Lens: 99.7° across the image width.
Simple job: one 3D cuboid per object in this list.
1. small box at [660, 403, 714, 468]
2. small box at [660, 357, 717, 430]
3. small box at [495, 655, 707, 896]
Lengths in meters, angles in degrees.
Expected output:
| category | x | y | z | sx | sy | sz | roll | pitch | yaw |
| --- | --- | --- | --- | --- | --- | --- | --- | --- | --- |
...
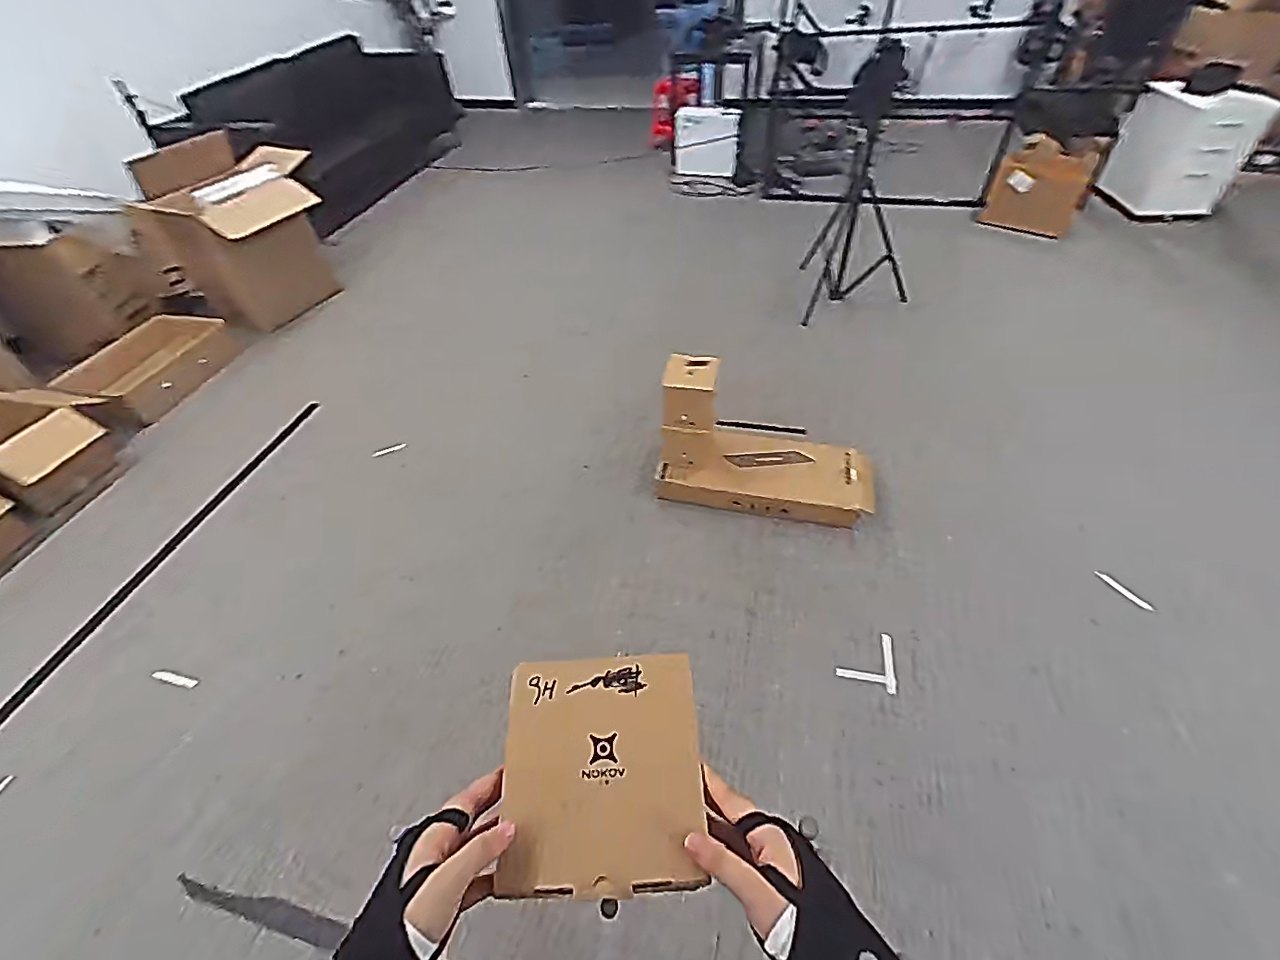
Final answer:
| category | x | y | z | sx | sy | sz | roll | pitch | yaw |
| --- | --- | --- | --- | --- | --- | --- | --- | --- | --- |
| small box | 0.168 | -0.169 | 1.934 | 0.168 | 0.176 | 0.179 | 8 | 48 | 11 |
| small box | 0.163 | -0.293 | 1.826 | 0.168 | 0.176 | 0.179 | 7 | 48 | 10 |
| small box | -0.028 | 0.283 | 0.518 | 0.168 | 0.176 | 0.179 | -2 | 53 | 0 |
